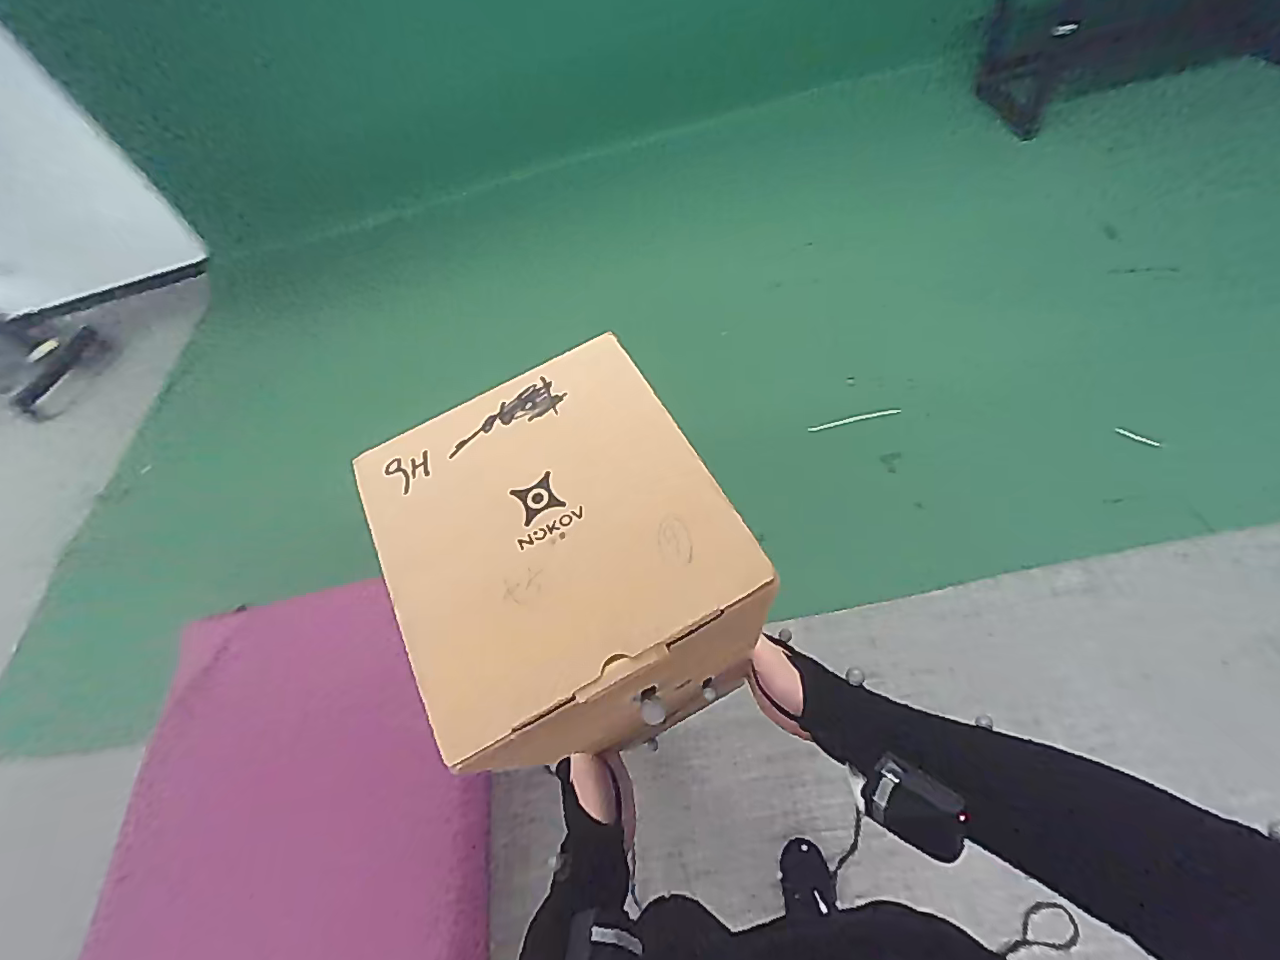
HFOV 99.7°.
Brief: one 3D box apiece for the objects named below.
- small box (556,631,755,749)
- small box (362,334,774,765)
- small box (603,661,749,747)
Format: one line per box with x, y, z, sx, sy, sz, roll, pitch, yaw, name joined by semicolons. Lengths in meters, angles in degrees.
-0.011;0.119;0.490;0.168;0.176;0.179;-27;62;-5;small box
-0.035;0.051;0.343;0.168;0.176;0.179;-28;63;-5;small box
0.015;0.189;0.635;0.168;0.176;0.179;-28;61;-4;small box
